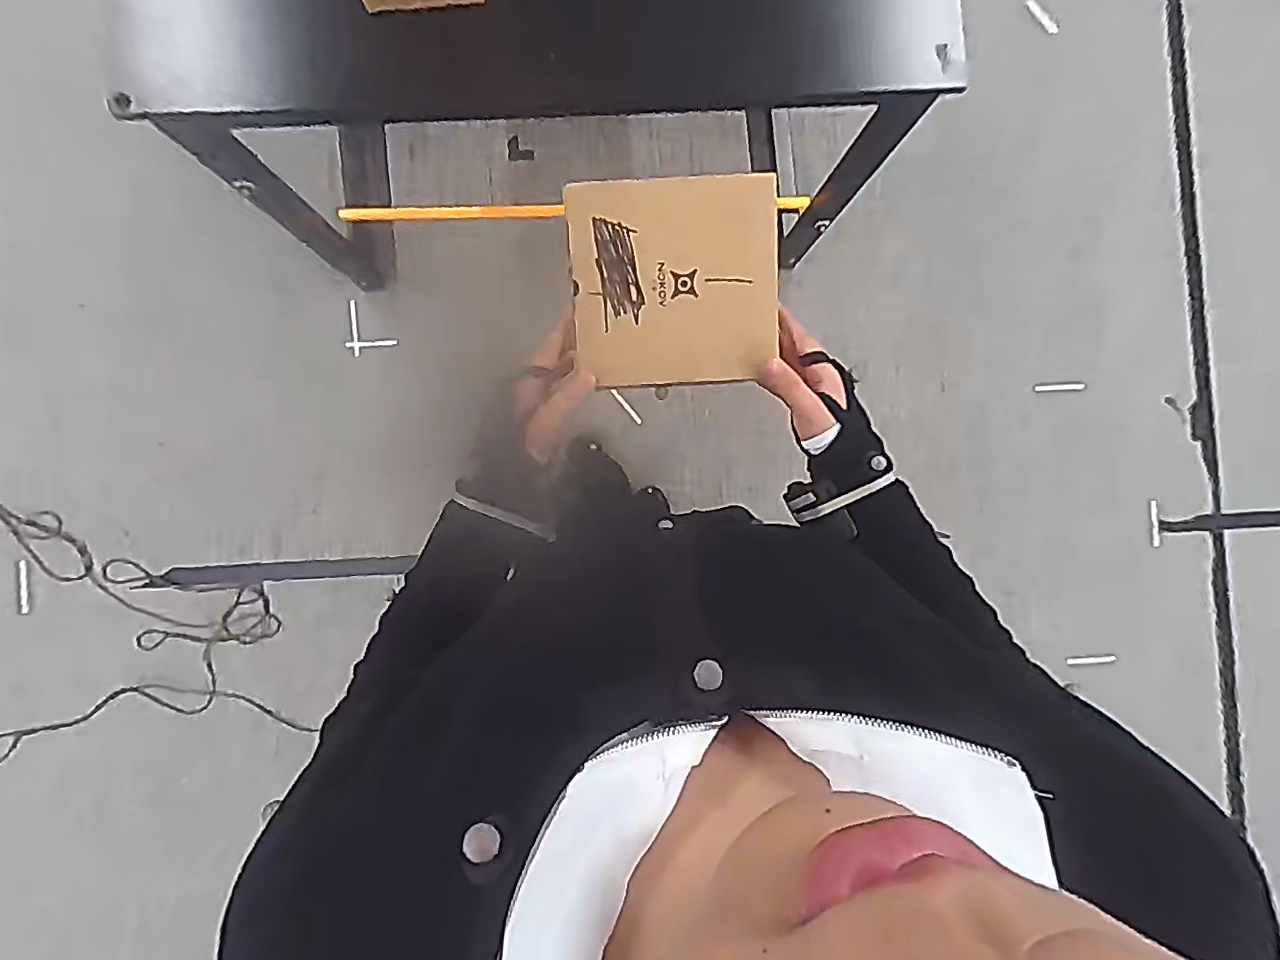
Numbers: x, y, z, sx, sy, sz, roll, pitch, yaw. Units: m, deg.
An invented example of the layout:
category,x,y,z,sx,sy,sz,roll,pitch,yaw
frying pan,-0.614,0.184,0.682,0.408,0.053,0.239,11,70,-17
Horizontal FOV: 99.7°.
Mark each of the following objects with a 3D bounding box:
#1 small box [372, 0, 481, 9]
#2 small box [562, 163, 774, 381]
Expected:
category,x,y,z,sx,sy,sz,roll,pitch,yaw
small box,-0.306,-0.748,0.687,0.168,0.176,0.179,-8,90,-3
small box,0.026,-0.187,0.533,0.179,0.176,0.168,-3,98,0
